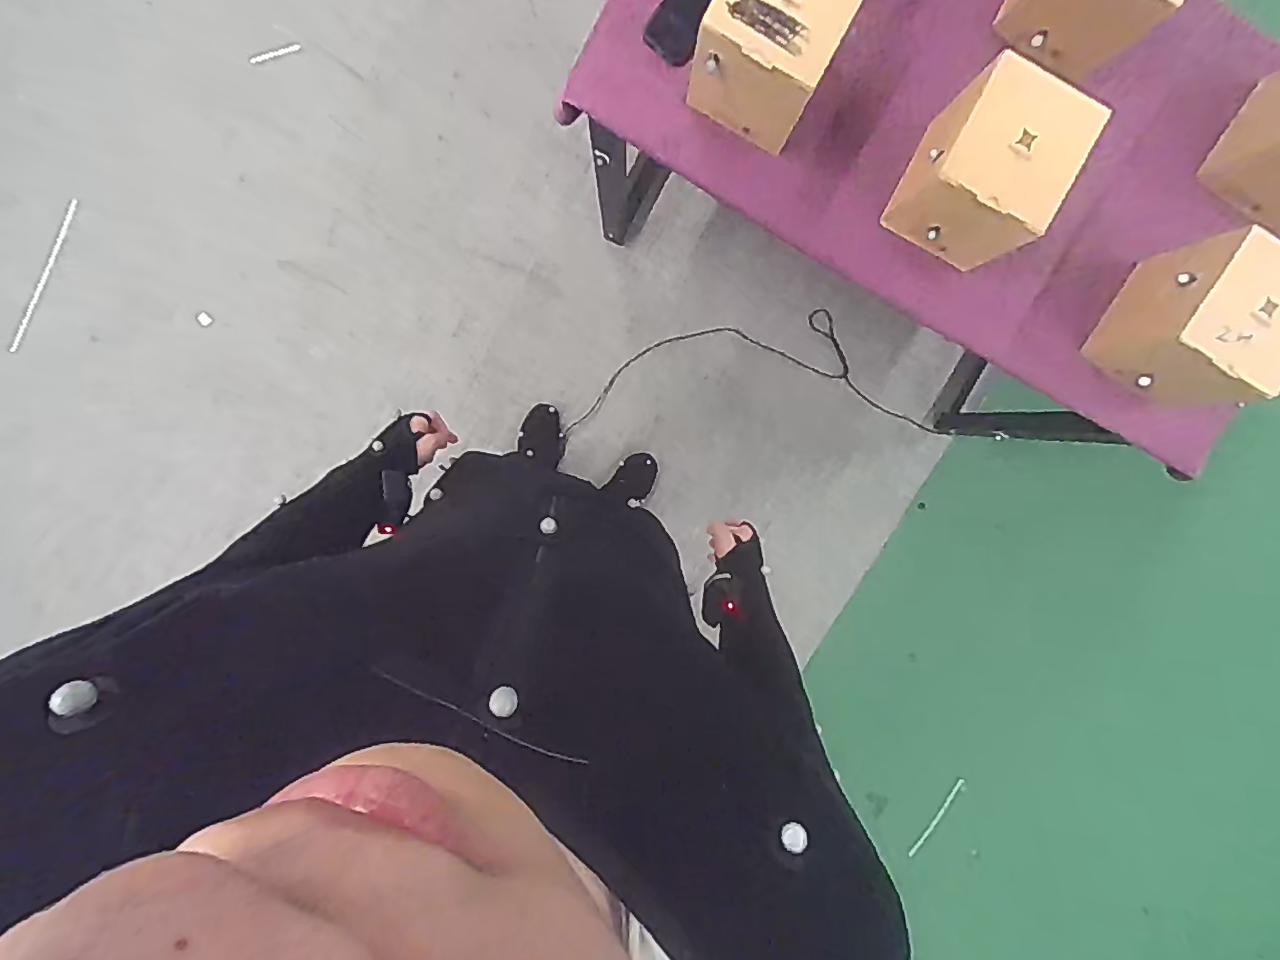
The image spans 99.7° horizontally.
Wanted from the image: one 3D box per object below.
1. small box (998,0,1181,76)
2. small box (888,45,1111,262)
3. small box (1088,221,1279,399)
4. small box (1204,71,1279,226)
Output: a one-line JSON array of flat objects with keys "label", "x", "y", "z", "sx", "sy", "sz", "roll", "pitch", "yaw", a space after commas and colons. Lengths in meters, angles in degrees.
[{"label": "small box", "x": 0.647, "y": -0.723, "z": 0.744, "sx": 0.168, "sy": 0.176, "sz": 0.179, "roll": 28, "pitch": 96, "yaw": -4}, {"label": "small box", "x": 0.493, "y": -0.447, "z": 0.773, "sx": 0.168, "sy": 0.176, "sz": 0.179, "roll": 27, "pitch": 95, "yaw": -5}, {"label": "small box", "x": 0.833, "y": -0.237, "z": 0.802, "sx": 0.168, "sy": 0.176, "sz": 0.179, "roll": 31, "pitch": 95, "yaw": -3}, {"label": "small box", "x": 0.996, "y": -0.508, "z": 0.777, "sx": 0.168, "sy": 0.176, "sz": 0.179, "roll": 31, "pitch": 95, "yaw": -4}]
